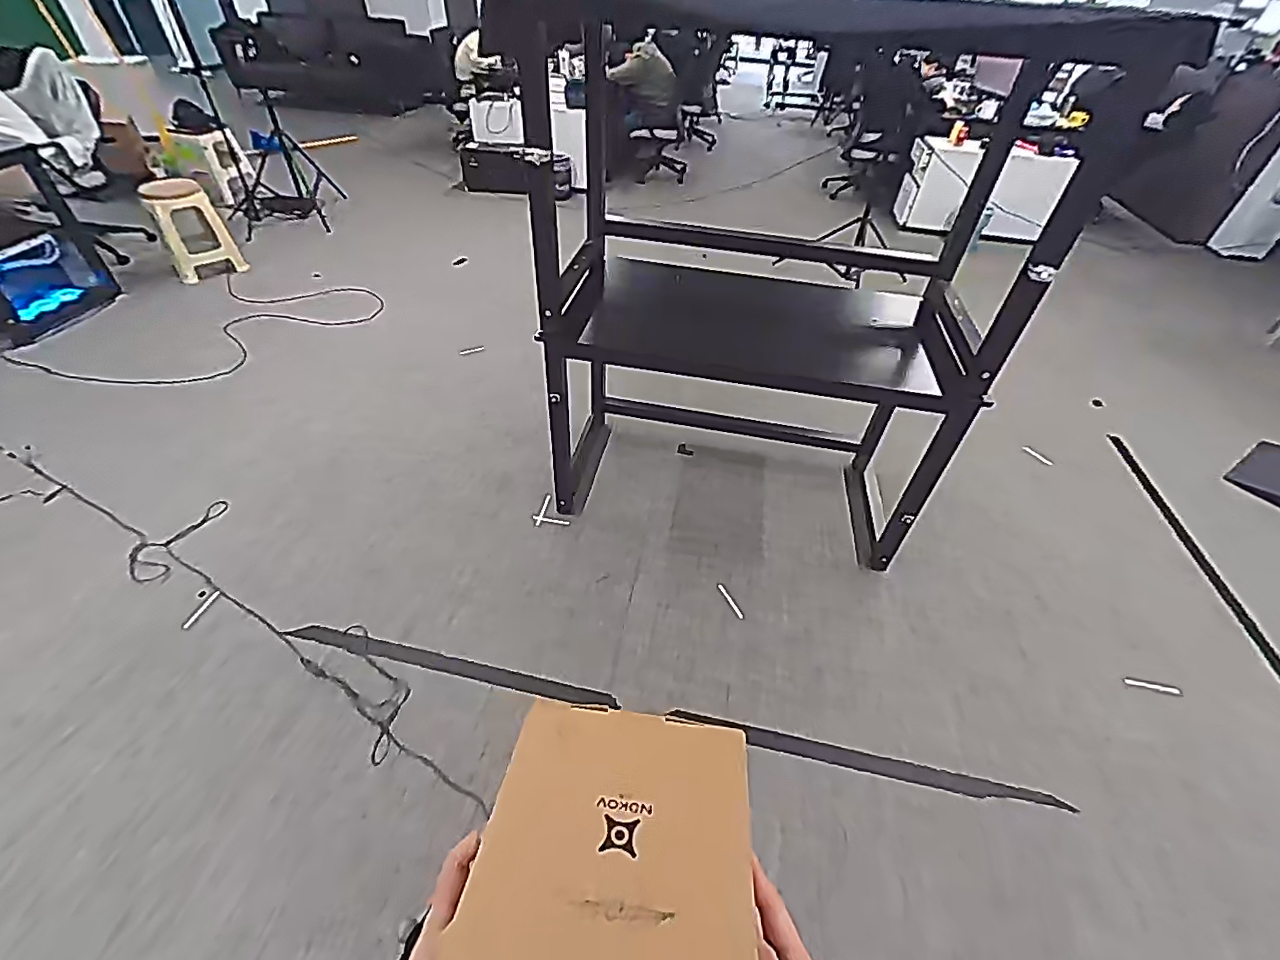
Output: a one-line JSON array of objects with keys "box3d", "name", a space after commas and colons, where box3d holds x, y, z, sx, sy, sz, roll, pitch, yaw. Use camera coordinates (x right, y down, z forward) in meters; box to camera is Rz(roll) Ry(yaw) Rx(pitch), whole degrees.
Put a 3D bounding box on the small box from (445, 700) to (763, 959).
[{"box3d": [-0.015, 0.289, 0.373, 0.168, 0.176, 0.179, 6, 28, 4], "name": "small box"}]
